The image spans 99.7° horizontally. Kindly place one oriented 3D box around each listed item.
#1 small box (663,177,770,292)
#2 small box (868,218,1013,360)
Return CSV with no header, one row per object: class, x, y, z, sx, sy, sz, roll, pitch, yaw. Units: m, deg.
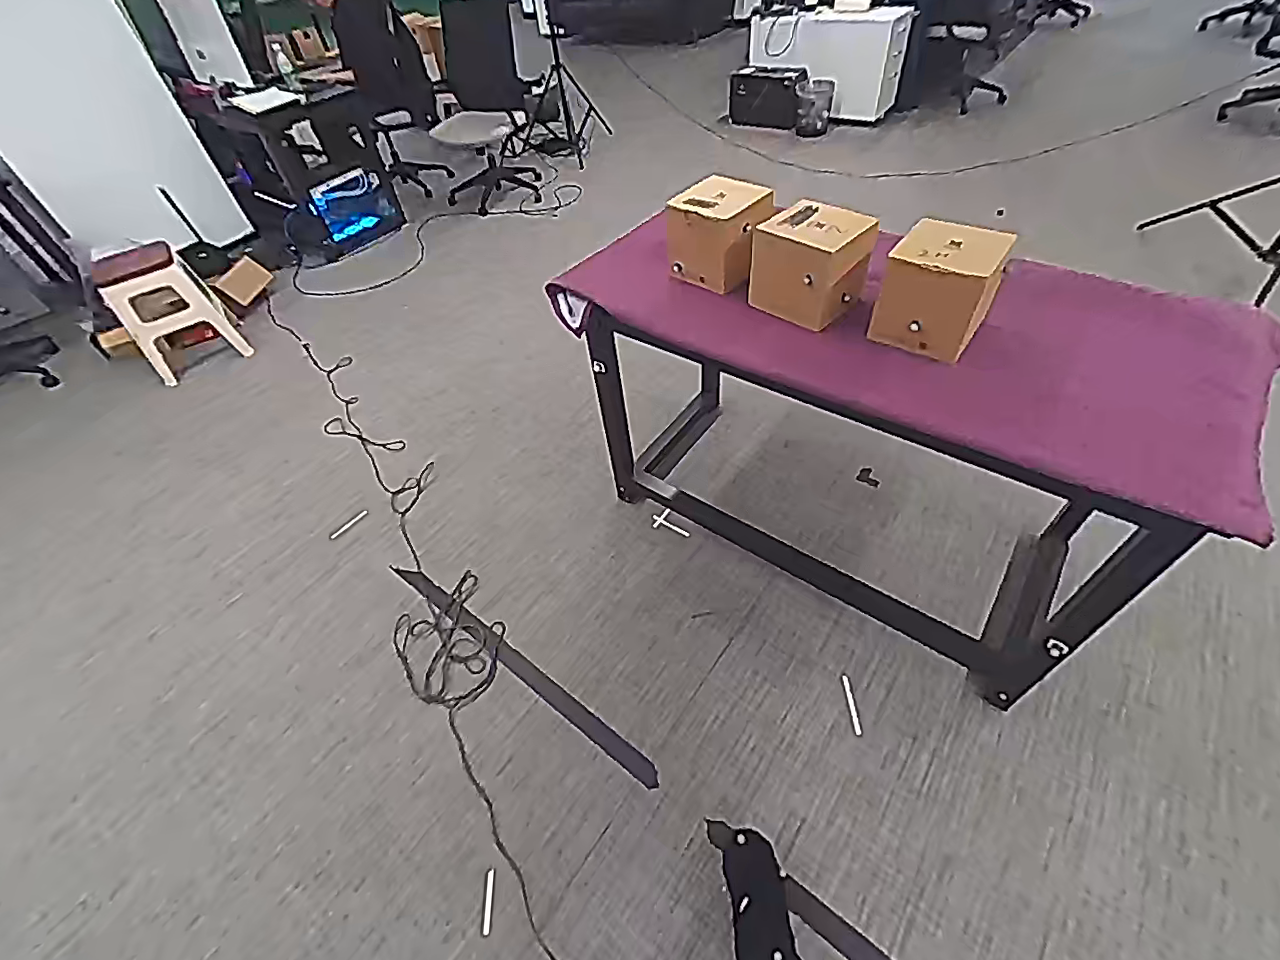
small box,0.174,-0.554,1.225,0.168,0.176,0.179,33,60,30
small box,0.547,-0.354,1.003,0.168,0.176,0.179,28,57,28
